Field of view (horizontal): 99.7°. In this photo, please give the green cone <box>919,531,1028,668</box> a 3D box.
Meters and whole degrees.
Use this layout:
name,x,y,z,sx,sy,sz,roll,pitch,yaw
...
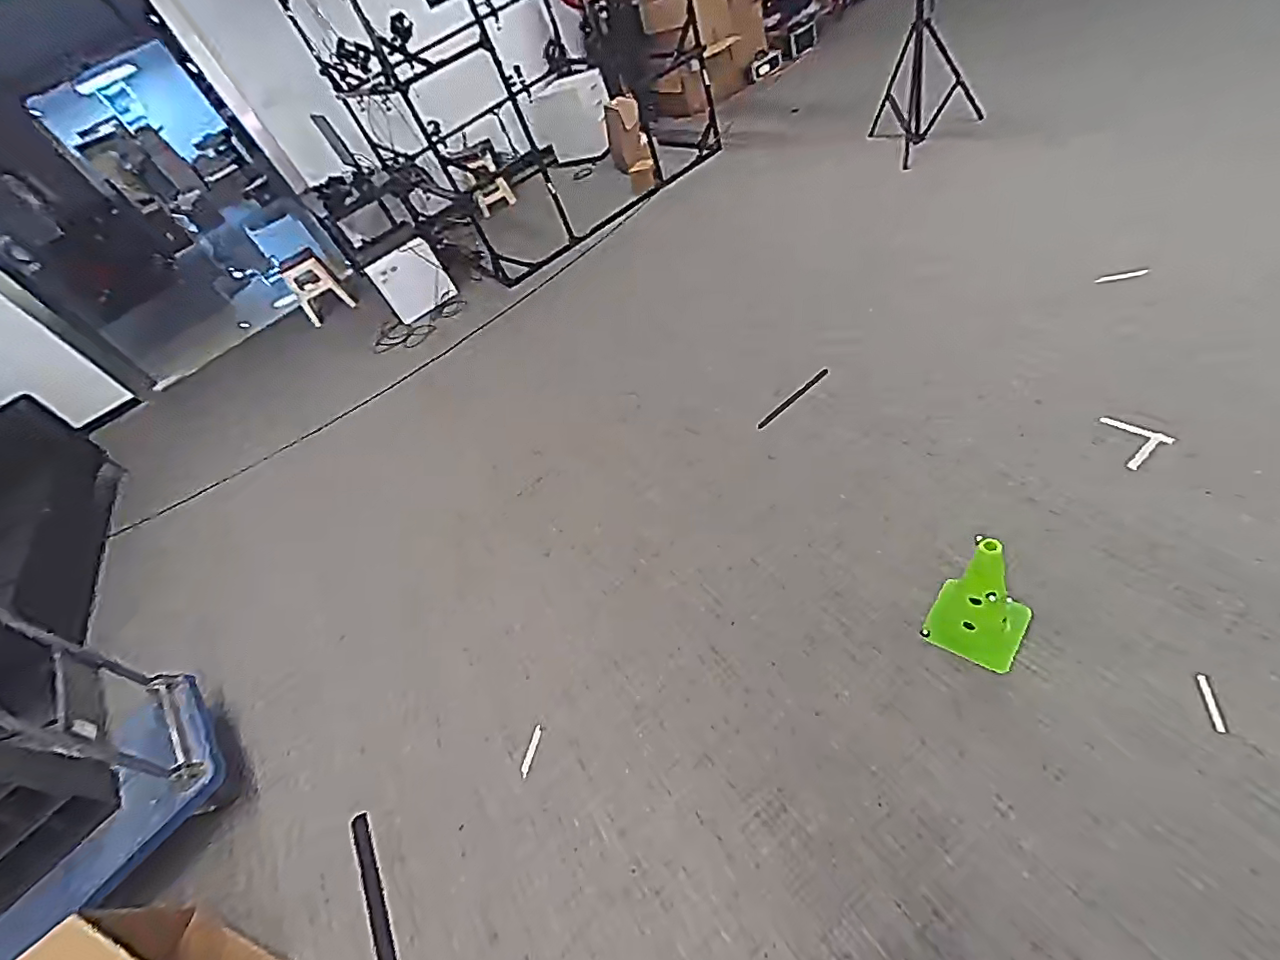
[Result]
name,x,y,z,sx,sy,sz,roll,pitch,yaw
green cone,0.788,0.242,1.248,0.200,0.368,0.202,21,60,37
